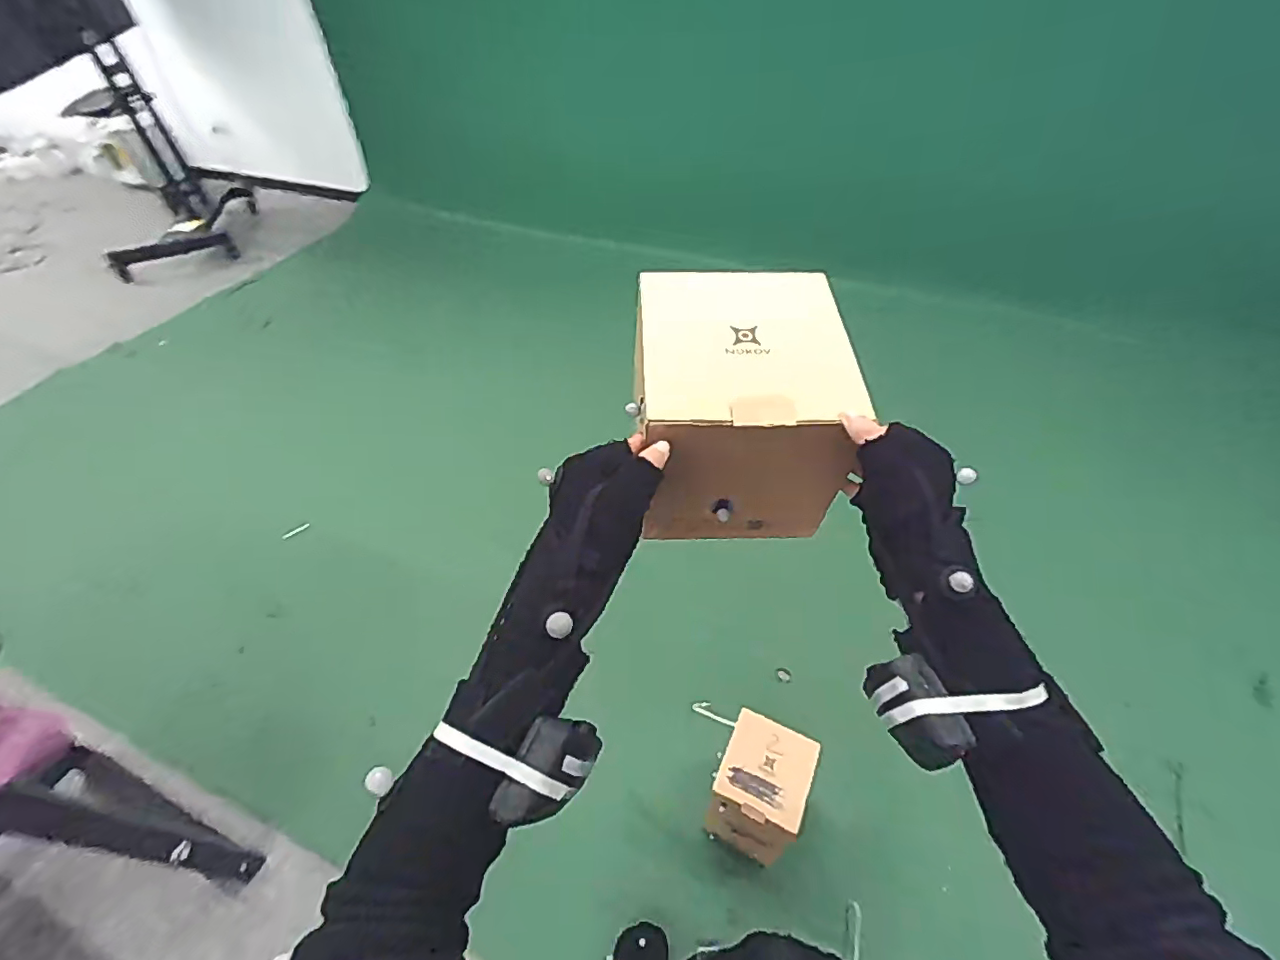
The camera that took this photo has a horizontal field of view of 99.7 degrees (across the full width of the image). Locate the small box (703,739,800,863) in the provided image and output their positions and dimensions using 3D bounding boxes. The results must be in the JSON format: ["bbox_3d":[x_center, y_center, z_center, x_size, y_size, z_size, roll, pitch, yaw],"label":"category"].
[{"bbox_3d":[0.245,0.725,1.213,0.168,0.176,0.179,18,52,17],"label":"small box"}]
